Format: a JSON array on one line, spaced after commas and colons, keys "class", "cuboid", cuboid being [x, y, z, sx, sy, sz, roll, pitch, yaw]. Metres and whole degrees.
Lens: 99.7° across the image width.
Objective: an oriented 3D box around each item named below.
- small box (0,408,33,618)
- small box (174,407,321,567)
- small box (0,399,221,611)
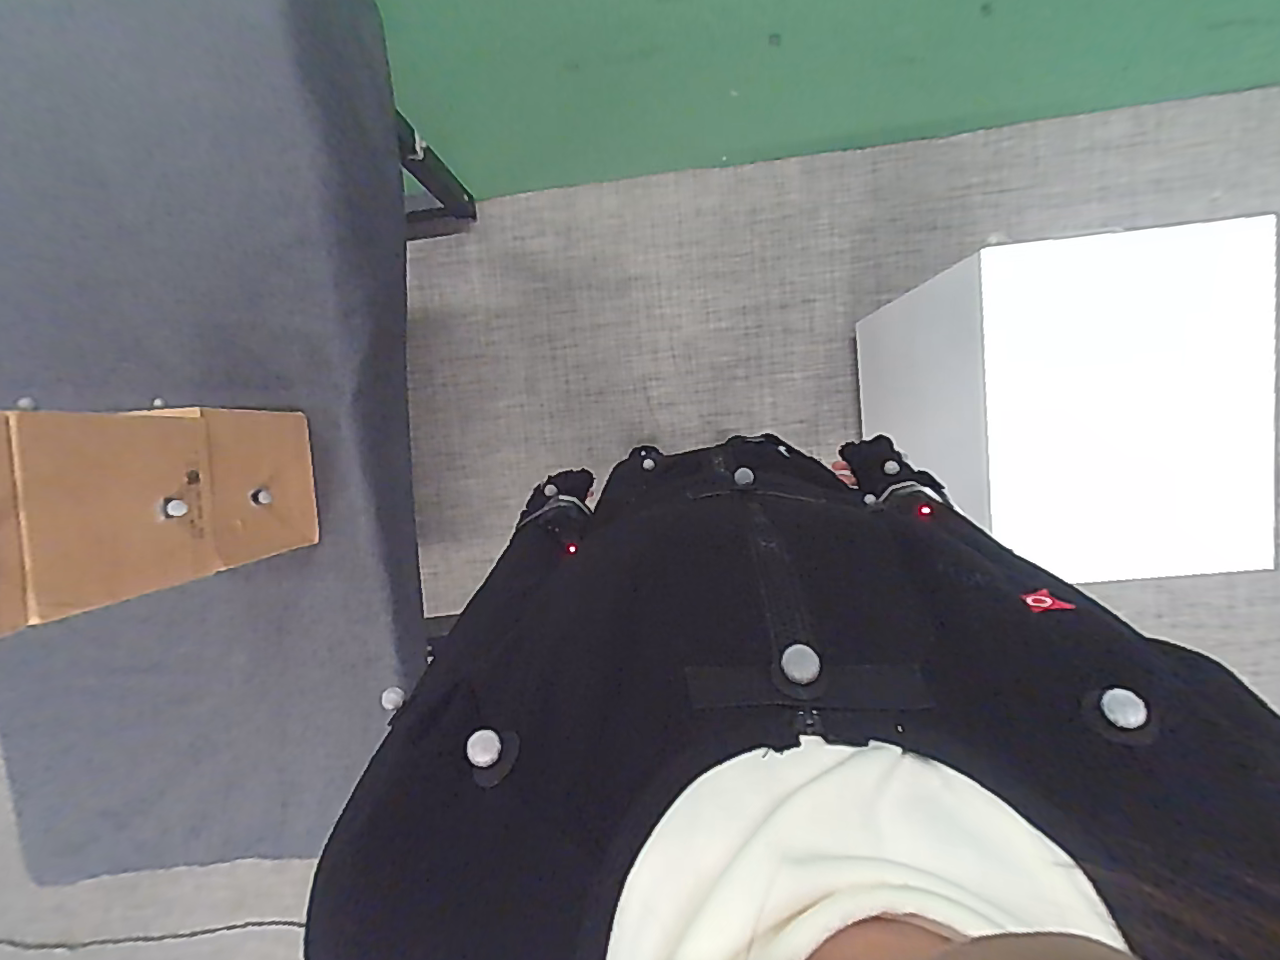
[{"class": "small box", "cuboid": [-0.560, 0.034, 0.342, 0.179, 0.176, 0.168, -1, 97, 4]}, {"class": "small box", "cuboid": [-0.525, 0.002, 0.665, 0.168, 0.176, 0.179, -3, 96, 5]}, {"class": "small box", "cuboid": [-0.544, 0.017, 0.502, 0.179, 0.176, 0.168, -3, 95, 7]}]
